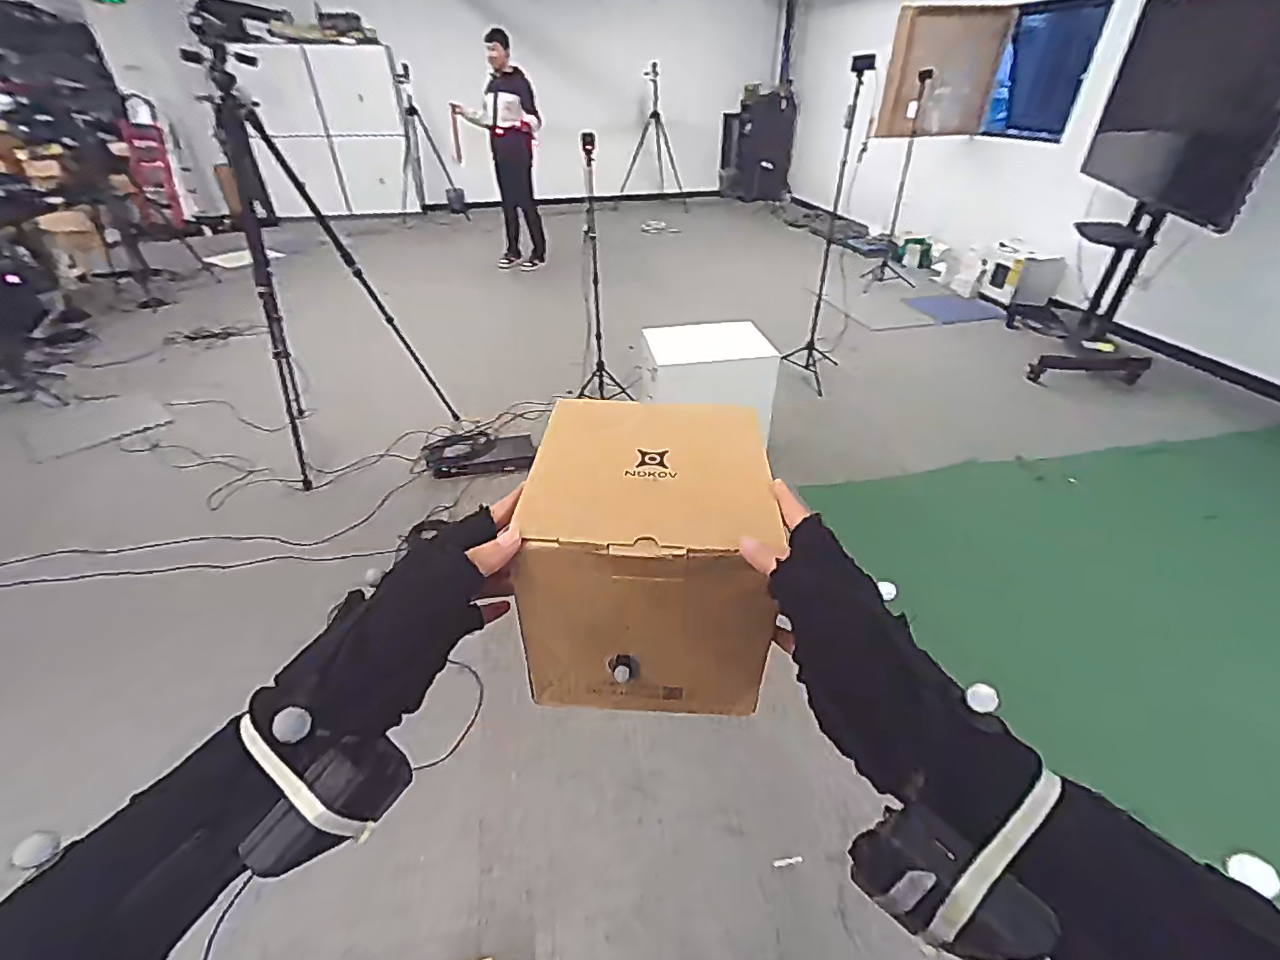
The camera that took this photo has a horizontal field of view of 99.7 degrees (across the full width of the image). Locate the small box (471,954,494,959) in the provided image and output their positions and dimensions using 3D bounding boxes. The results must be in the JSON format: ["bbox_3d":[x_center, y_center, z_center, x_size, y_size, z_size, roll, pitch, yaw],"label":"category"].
[{"bbox_3d":[-0.335,1.035,1.004,0.168,0.176,0.179,-10,38,-12],"label":"small box"}]
